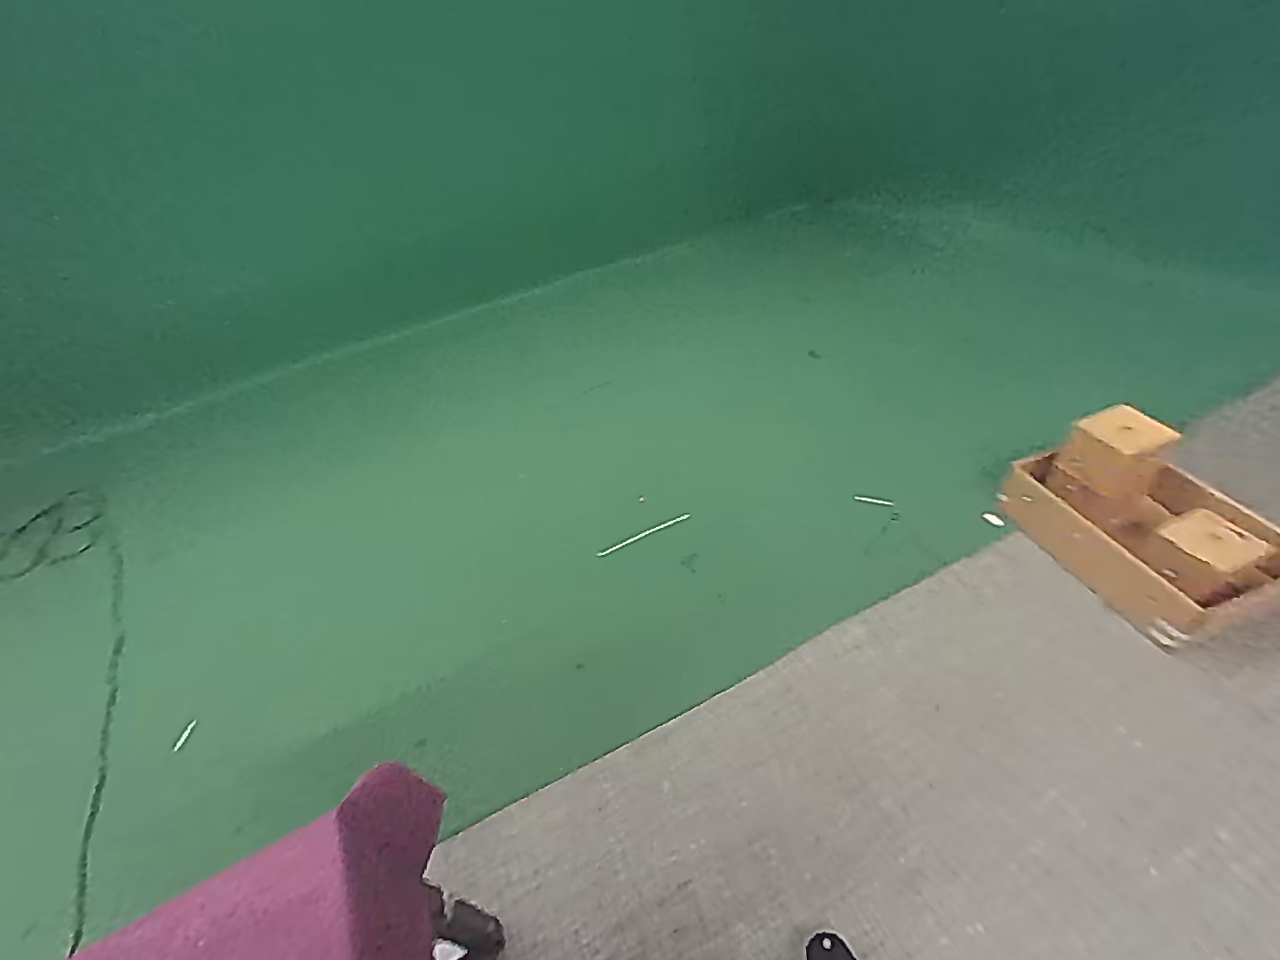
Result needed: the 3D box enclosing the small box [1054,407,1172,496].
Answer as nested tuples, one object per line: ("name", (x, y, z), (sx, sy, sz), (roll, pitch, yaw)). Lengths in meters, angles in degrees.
("small box", (1.383, -0.082, 1.598), (0.179, 0.176, 0.168), (-20, 44, -6))
